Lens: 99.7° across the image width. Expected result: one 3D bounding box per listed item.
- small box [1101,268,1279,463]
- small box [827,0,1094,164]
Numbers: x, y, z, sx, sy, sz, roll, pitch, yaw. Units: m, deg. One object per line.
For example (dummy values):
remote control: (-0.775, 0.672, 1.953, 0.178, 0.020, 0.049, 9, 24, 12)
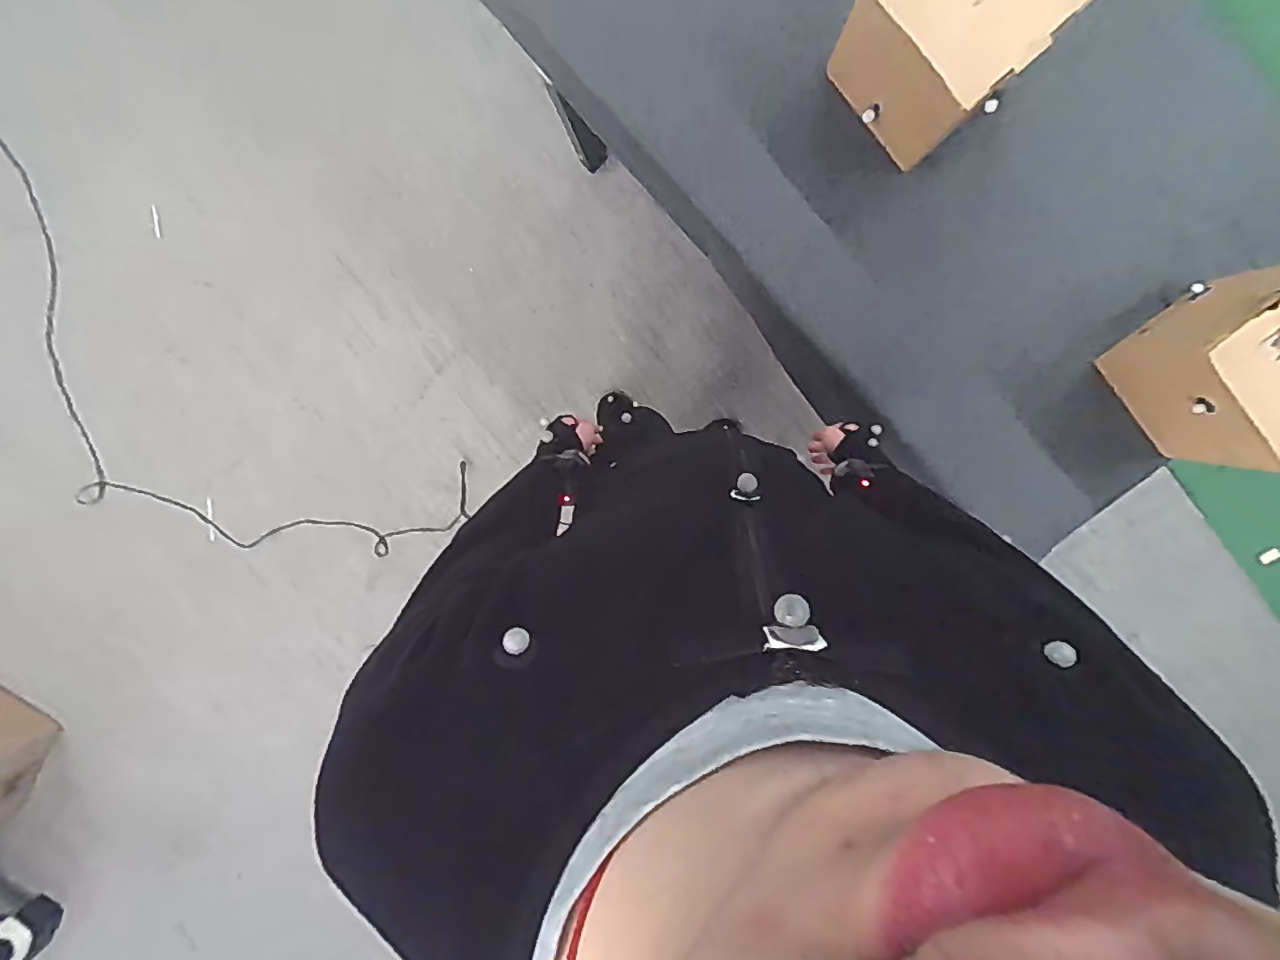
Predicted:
small box: (0.743, -0.139, 0.671, 0.168, 0.176, 0.179, -40, 95, 8)
small box: (0.356, -0.513, 0.638, 0.168, 0.176, 0.179, -42, 95, 7)
